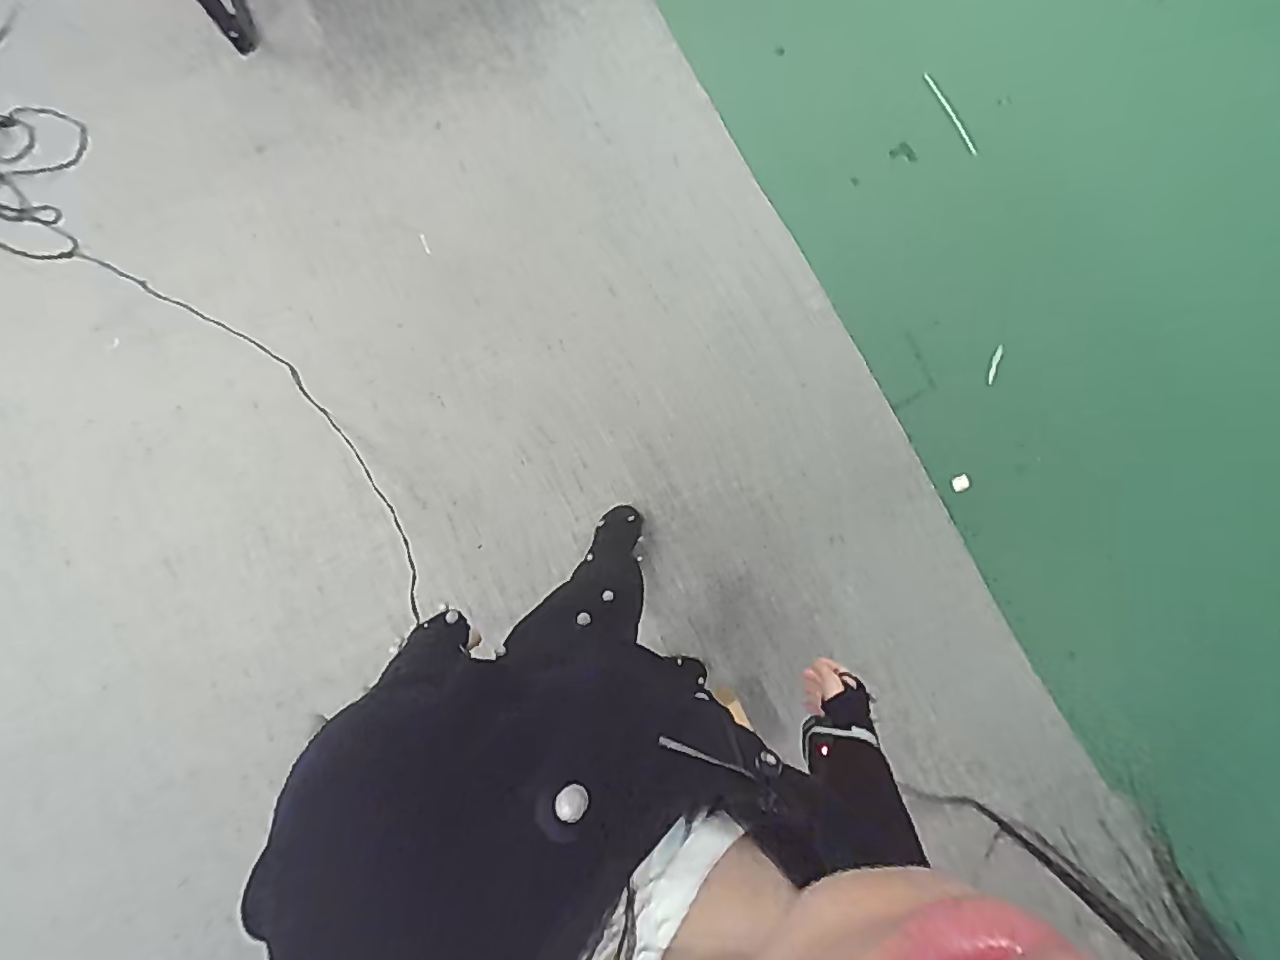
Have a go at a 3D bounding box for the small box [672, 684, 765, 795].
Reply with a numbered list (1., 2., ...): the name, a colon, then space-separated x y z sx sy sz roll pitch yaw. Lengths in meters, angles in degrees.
1. small box: 0.194 0.652 1.379 0.168 0.176 0.179 -25 84 -5
